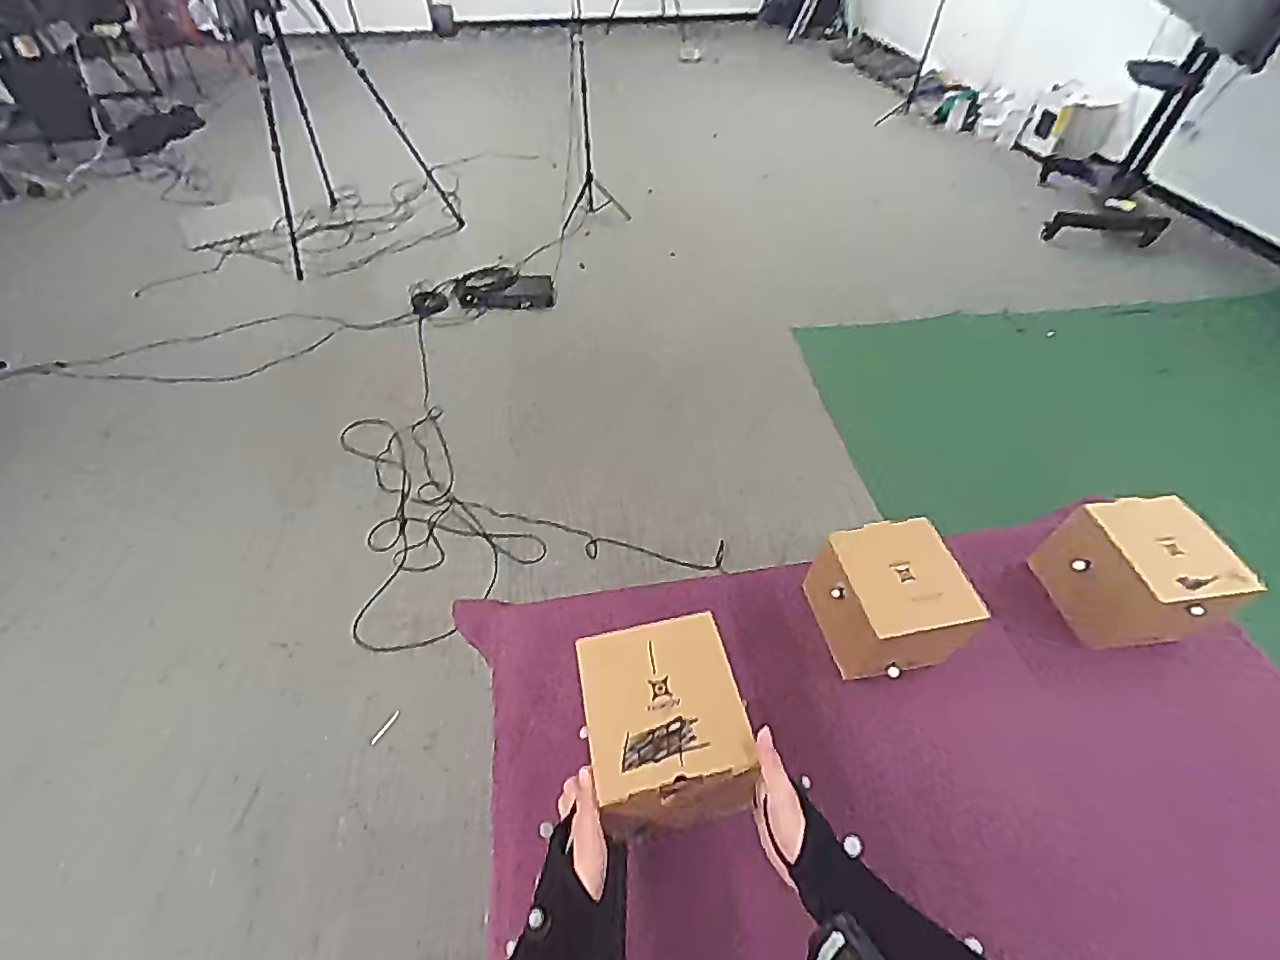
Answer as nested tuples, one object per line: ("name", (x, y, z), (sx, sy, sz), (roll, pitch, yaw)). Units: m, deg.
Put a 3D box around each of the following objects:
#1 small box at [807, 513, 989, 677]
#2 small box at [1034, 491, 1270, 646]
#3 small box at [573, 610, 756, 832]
("small box", (0.375, 0.176, 0.829), (0.168, 0.176, 0.179), (-8, 51, -6))
("small box", (0.784, 0.141, 0.858), (0.168, 0.176, 0.179), (-6, 49, -4))
("small box", (0.024, 0.282, 0.623), (0.168, 0.176, 0.179), (-11, 45, -6))
